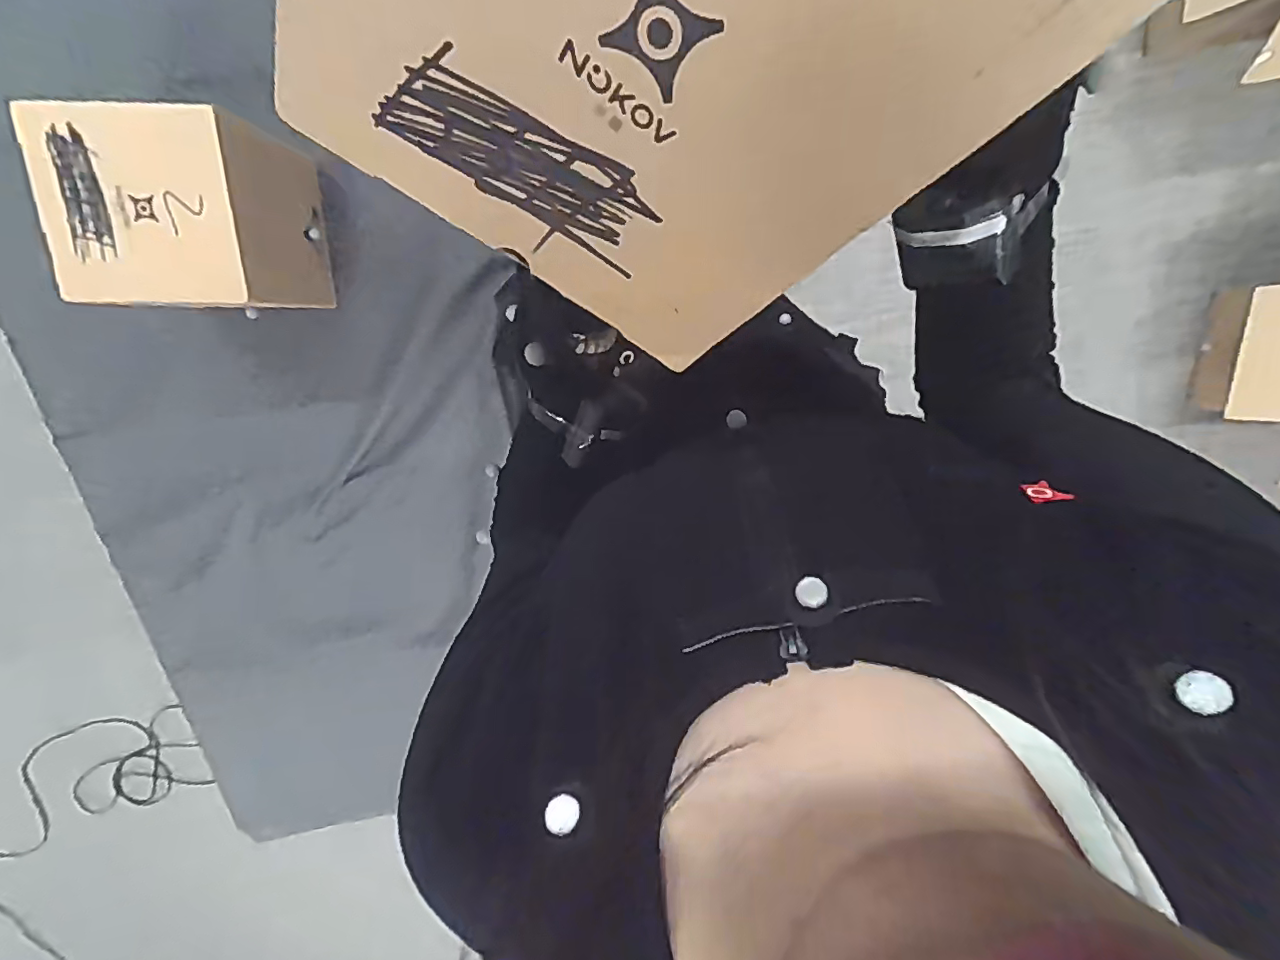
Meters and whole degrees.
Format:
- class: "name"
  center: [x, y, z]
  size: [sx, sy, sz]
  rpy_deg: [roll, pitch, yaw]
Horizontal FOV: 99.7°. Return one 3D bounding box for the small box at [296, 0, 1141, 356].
- class: "small box"
  center: [0.015, -0.183, 0.183]
  size: [0.168, 0.176, 0.179]
  rpy_deg: [26, 149, -25]
